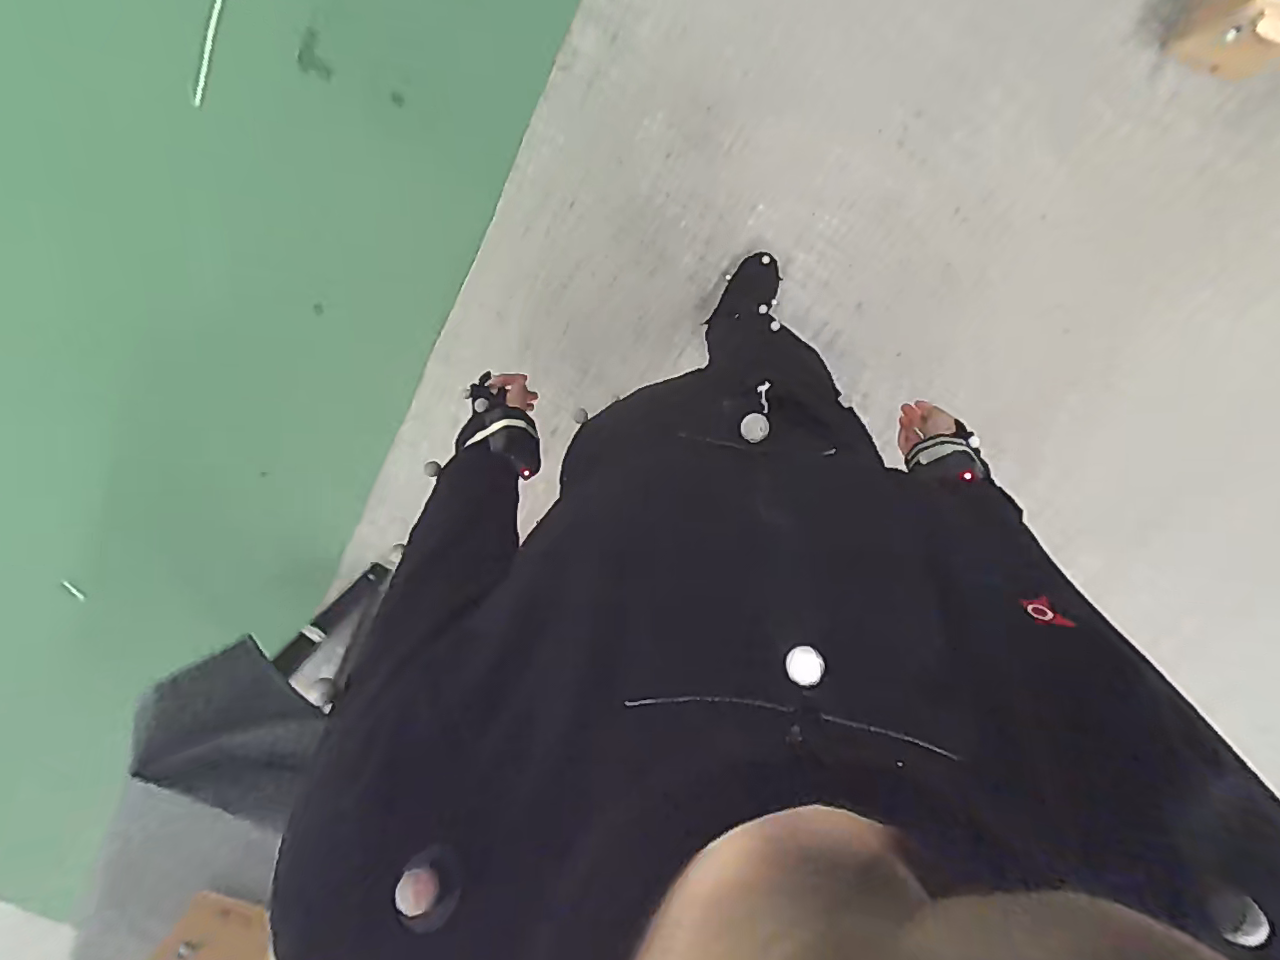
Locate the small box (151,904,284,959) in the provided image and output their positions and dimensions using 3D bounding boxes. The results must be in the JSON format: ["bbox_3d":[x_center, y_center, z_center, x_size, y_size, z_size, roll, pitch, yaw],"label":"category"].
[{"bbox_3d":[-0.718,0.841,0.877,0.168,0.176,0.179,23,111,-4],"label":"small box"}]
